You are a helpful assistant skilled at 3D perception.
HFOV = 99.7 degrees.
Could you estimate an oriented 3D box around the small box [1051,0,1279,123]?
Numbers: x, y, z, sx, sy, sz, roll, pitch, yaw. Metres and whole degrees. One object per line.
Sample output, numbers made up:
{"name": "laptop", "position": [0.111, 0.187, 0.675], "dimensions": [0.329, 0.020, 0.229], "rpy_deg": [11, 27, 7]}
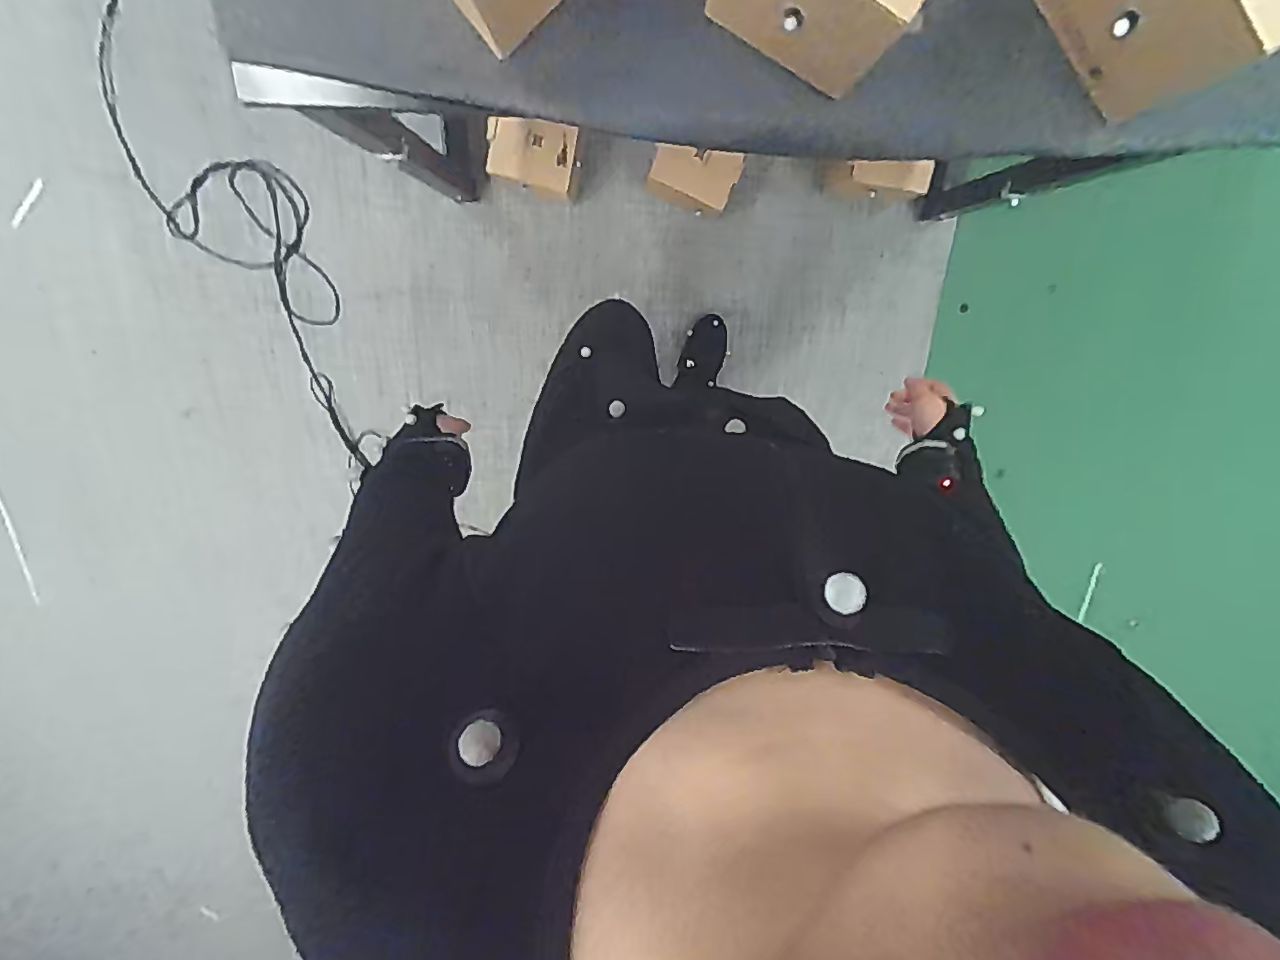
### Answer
{"name": "small box", "position": [0.534, -0.483, 0.500], "dimensions": [0.179, 0.176, 0.168], "rpy_deg": [-40, 101, 10]}

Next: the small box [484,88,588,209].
{"name": "small box", "position": [-0.220, -0.711, 1.181], "dimensions": [0.179, 0.176, 0.168], "rpy_deg": [14, 107, -5]}

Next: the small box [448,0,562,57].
{"name": "small box", "position": [-0.138, -0.534, 0.475], "dimensions": [0.179, 0.176, 0.168], "rpy_deg": [-39, 104, 10]}

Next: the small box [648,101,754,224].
{"name": "small box", "position": [0.127, -0.686, 1.195], "dimensions": [0.179, 0.176, 0.168], "rpy_deg": [22, 106, -5]}

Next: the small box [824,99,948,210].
{"name": "small box", "position": [0.532, -0.708, 1.197], "dimensions": [0.179, 0.176, 0.168], "rpy_deg": [7, 108, -4]}
